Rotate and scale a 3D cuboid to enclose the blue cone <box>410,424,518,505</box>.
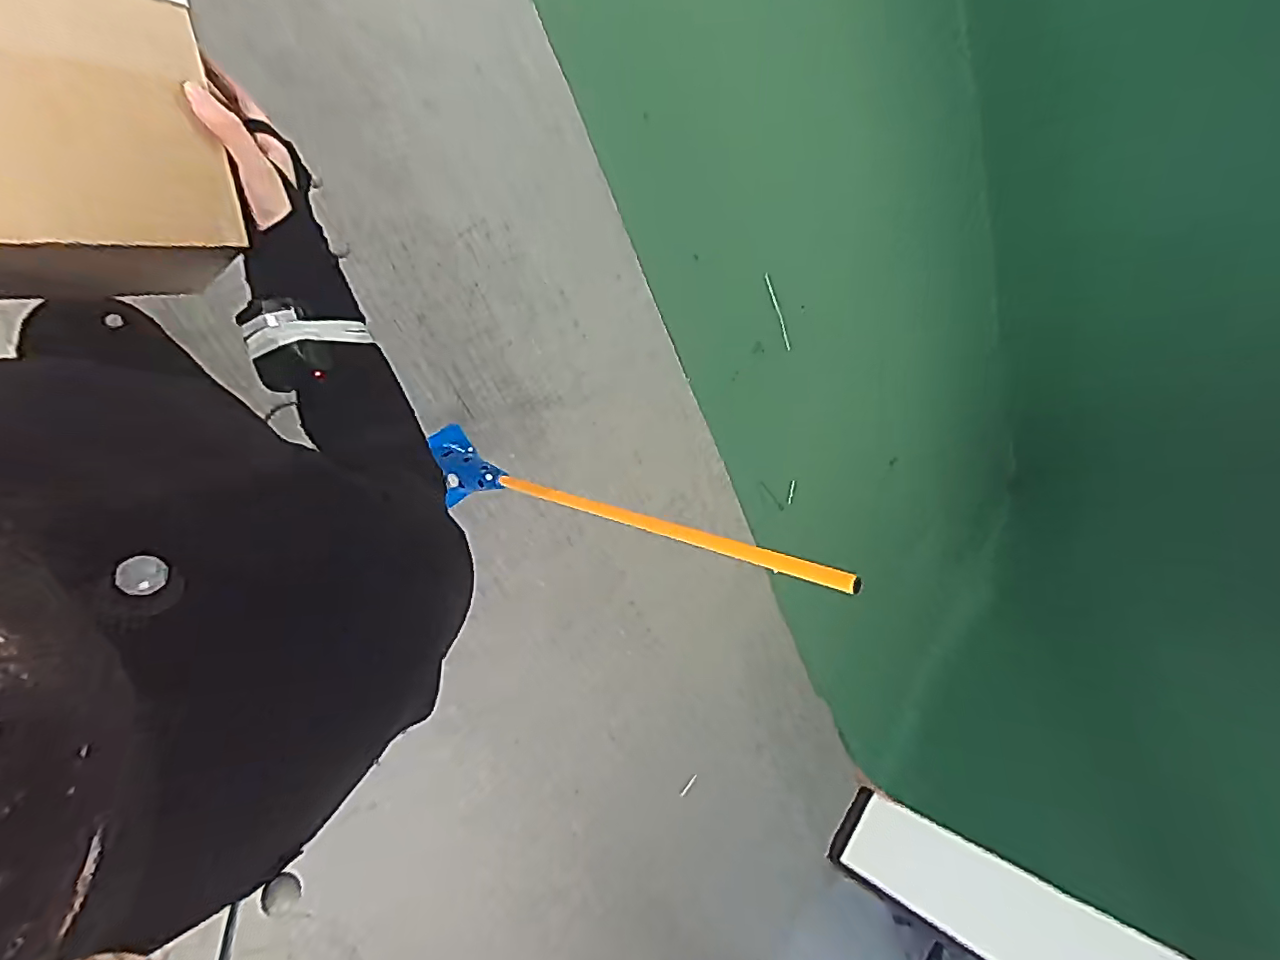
[{"bbox_3d":[-0.418,-0.025,1.409,0.192,0.380,0.193,-45,123,-27],"label":"blue cone"}]
